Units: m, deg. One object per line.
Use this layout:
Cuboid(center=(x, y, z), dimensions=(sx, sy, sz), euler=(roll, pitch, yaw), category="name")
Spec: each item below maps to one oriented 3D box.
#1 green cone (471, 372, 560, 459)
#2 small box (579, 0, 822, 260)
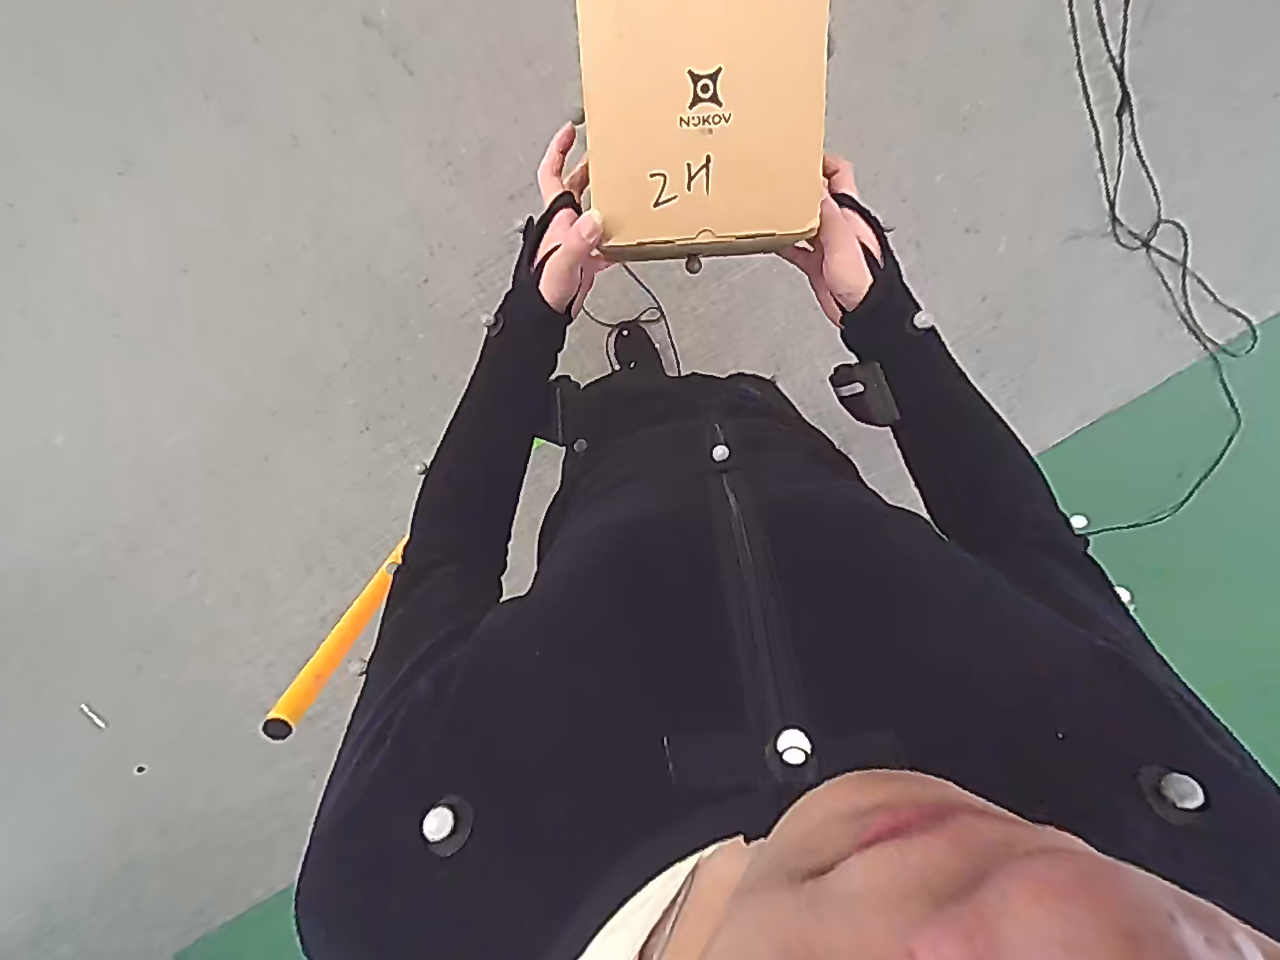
Cuboid(center=(-0.351, -0.147, 1.404), dimensions=(0.202, 0.368, 0.200), euler=(-32, 103, 4), category="green cone")
Cuboid(center=(0.043, -0.288, 0.454), dimensions=(0.168, 0.176, 0.179), euler=(-2, 109, 2), category="small box")
